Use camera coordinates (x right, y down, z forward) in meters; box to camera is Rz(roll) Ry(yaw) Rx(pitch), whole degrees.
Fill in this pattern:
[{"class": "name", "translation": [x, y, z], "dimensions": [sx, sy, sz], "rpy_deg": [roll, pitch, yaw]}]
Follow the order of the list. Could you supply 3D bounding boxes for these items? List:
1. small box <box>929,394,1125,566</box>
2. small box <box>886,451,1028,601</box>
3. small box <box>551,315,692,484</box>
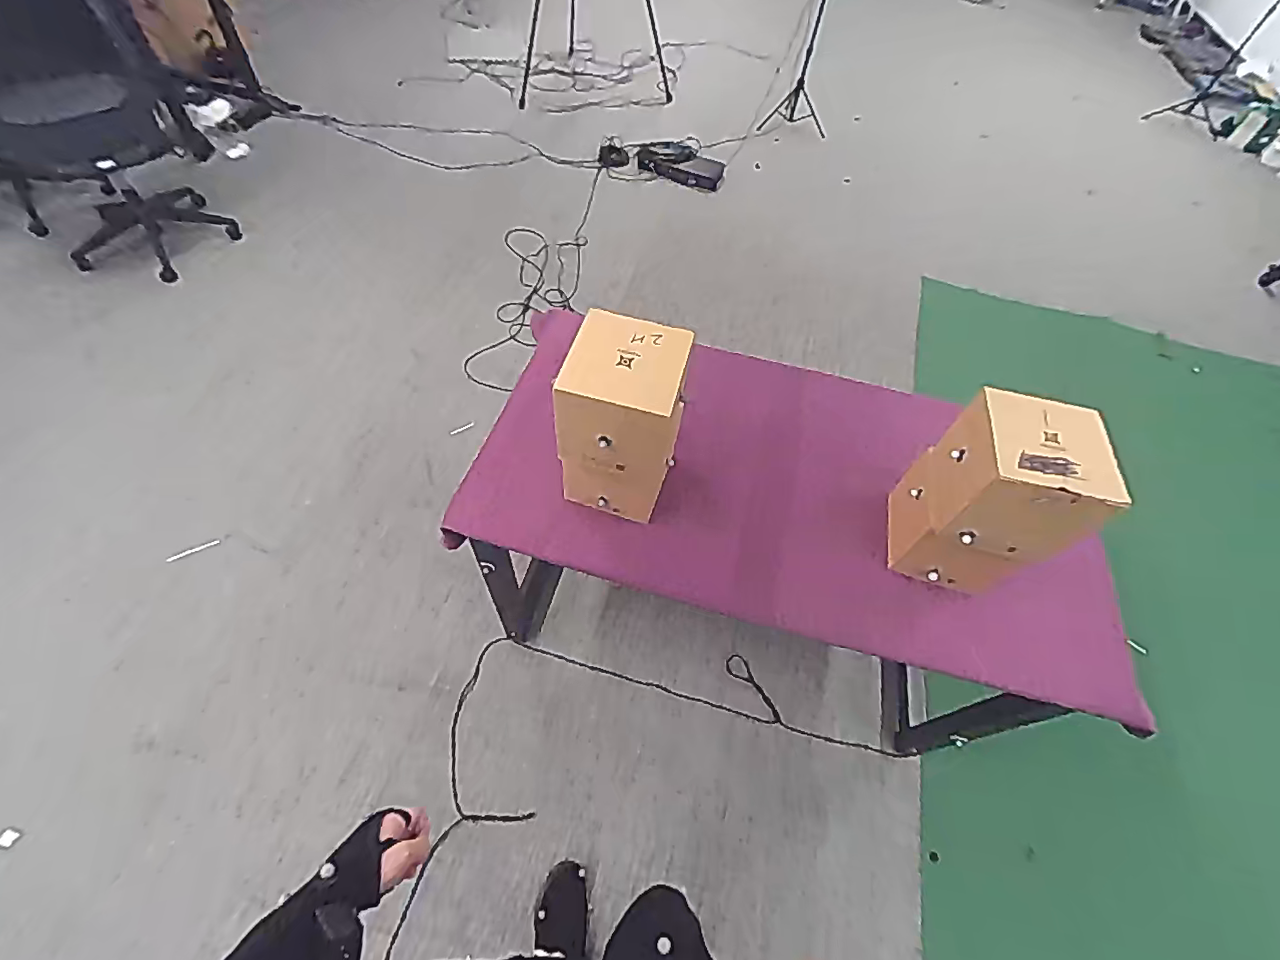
[{"class": "small box", "translation": [0.554, 0.005, 0.806], "dimensions": [0.168, 0.176, 0.179], "rpy_deg": [14, 54, 6]}, {"class": "small box", "translation": [0.550, 0.084, 0.951], "dimensions": [0.168, 0.176, 0.179], "rpy_deg": [16, 56, 7]}, {"class": "small box", "translation": [-0.027, -0.118, 0.835], "dimensions": [0.168, 0.176, 0.179], "rpy_deg": [15, 56, 4]}]
